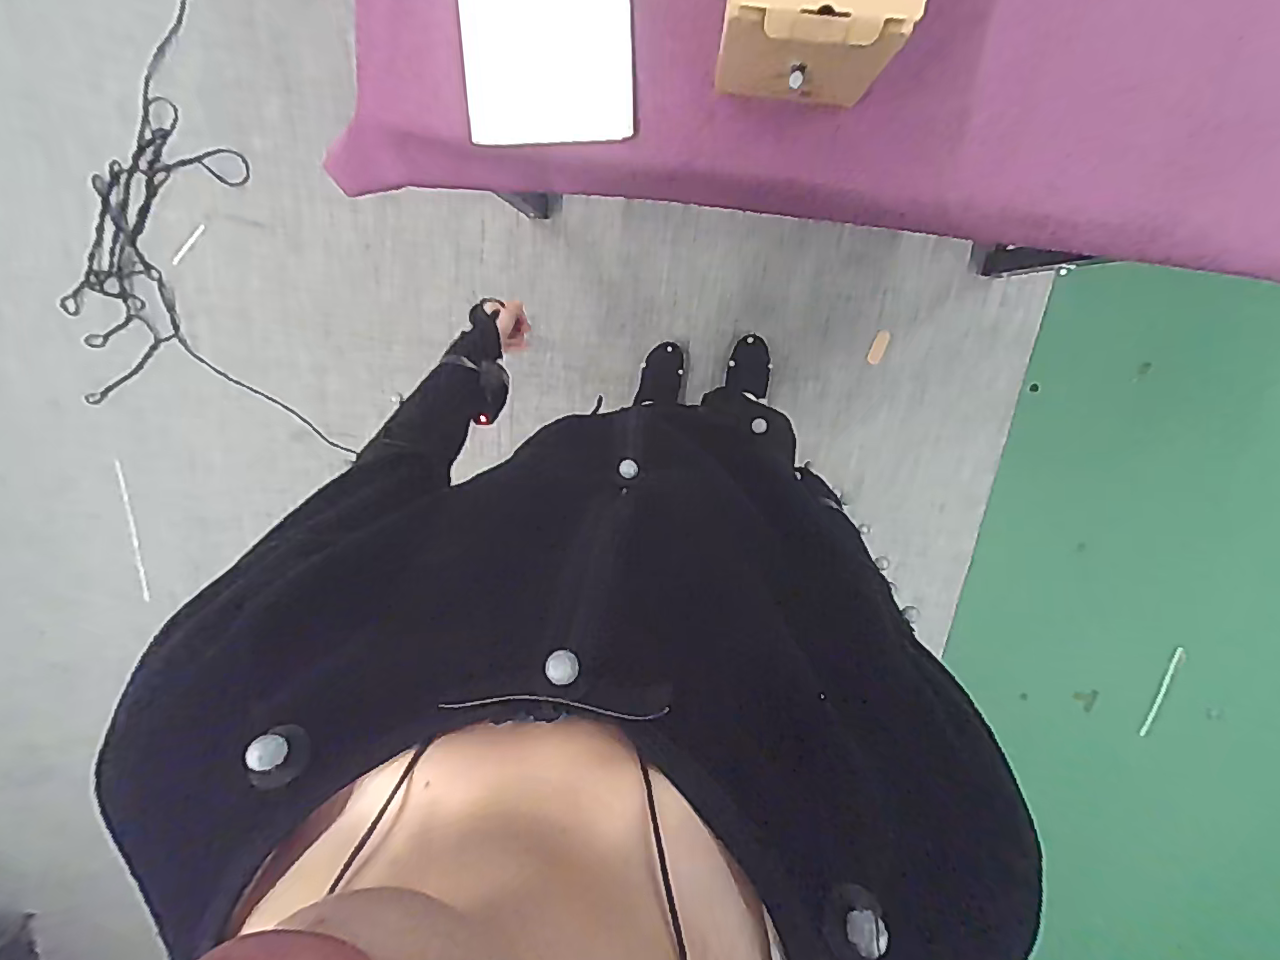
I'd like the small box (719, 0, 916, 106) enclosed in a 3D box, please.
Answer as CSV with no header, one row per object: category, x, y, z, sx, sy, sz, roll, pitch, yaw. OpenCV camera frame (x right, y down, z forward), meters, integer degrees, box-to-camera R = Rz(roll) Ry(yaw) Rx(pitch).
small box,0.175,-0.504,0.537,0.168,0.176,0.179,8,107,1
